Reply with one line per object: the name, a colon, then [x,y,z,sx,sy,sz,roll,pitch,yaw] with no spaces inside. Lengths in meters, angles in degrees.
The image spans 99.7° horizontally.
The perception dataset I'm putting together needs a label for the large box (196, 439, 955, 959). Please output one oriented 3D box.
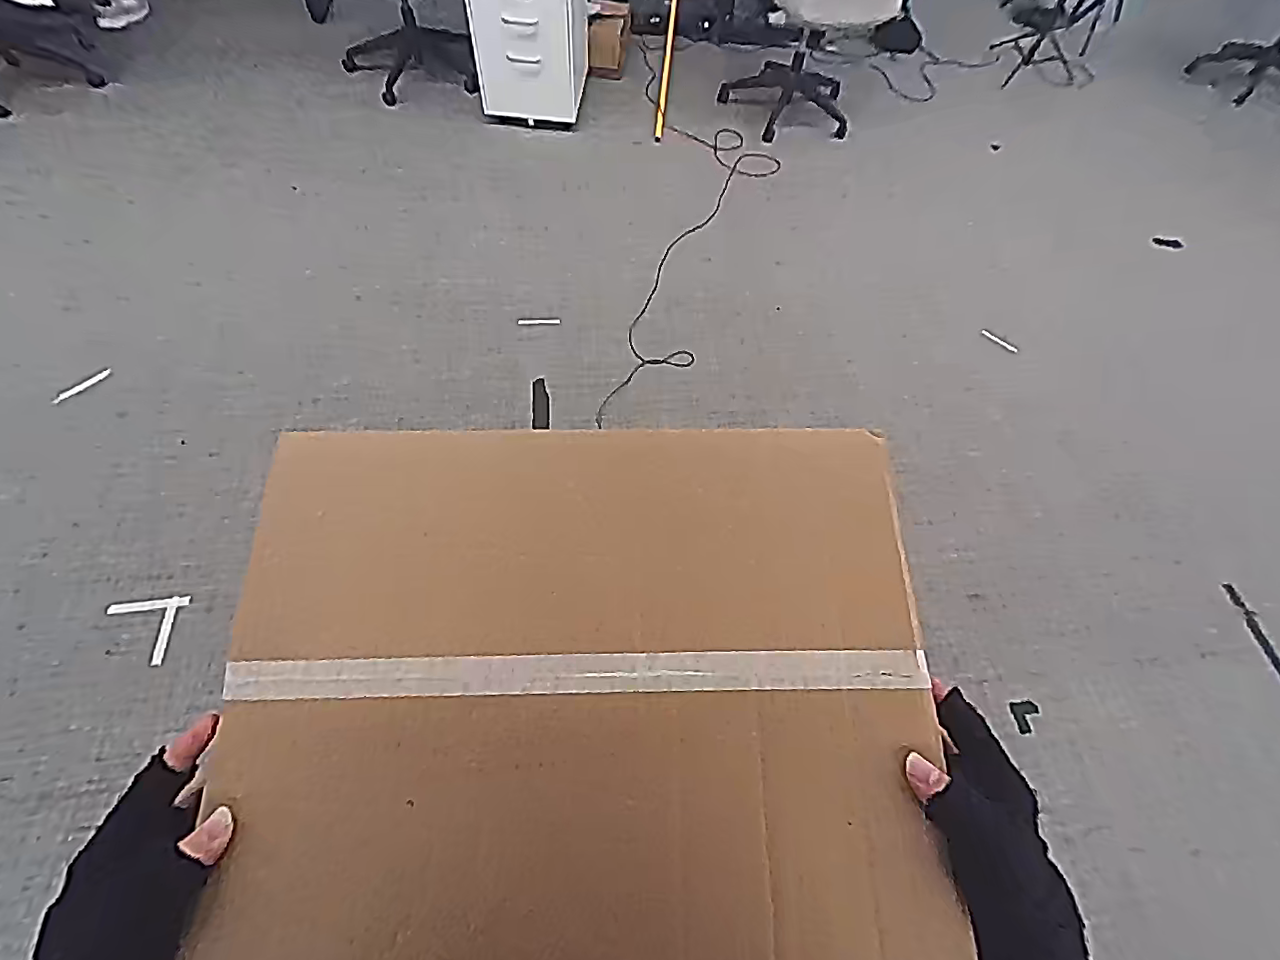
large box: [-0.038,0.169,0.467,0.408,0.320,0.320,-1,71,0]
